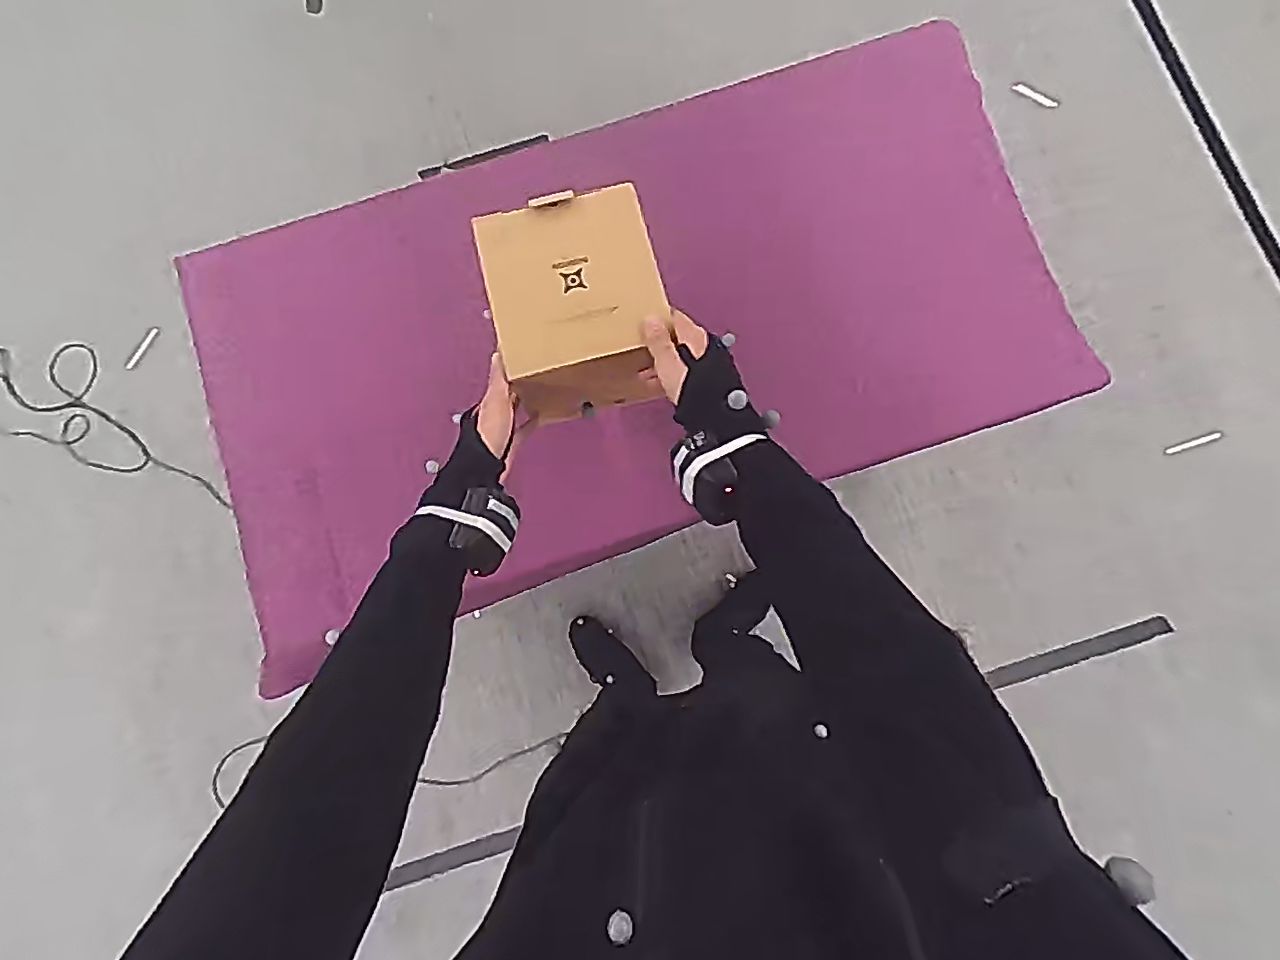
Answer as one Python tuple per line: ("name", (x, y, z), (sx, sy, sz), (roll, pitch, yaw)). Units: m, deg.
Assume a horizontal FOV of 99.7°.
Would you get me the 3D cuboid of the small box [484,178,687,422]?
("small box", (-0.055, -0.182, 0.589), (0.168, 0.176, 0.179), (-14, 80, -2))
